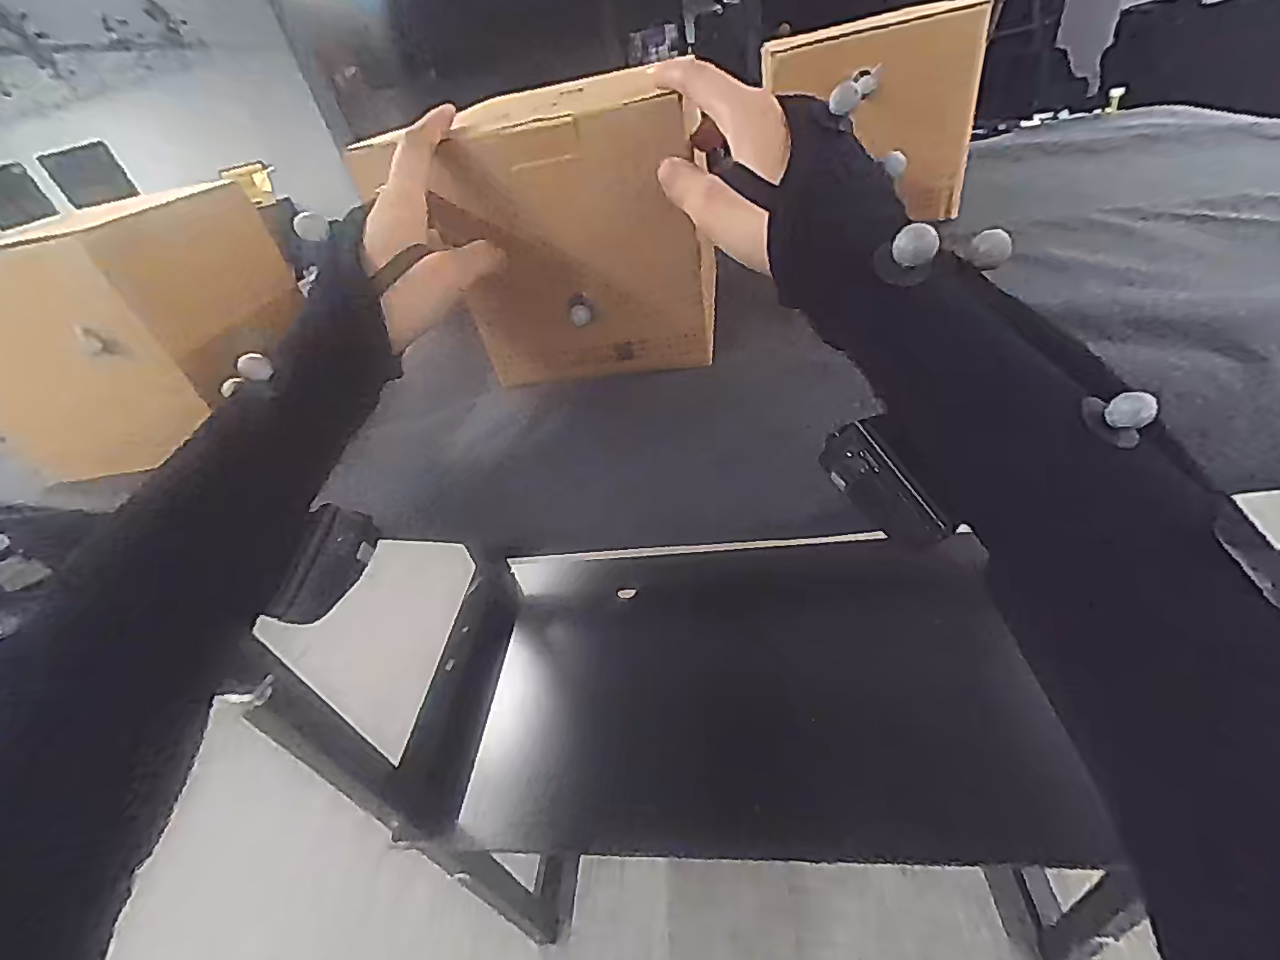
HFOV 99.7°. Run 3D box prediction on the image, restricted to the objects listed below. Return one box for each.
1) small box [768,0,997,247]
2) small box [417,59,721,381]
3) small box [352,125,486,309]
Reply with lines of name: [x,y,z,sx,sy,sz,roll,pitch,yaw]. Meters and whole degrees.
small box: [0.226,-0.359,0.554,0.179,0.176,0.168,-4,38,14]
small box: [-0.029,-0.196,0.414,0.168,0.176,0.179,-3,42,13]
small box: [-0.172,-0.303,0.608,0.168,0.176,0.179,-5,38,11]
